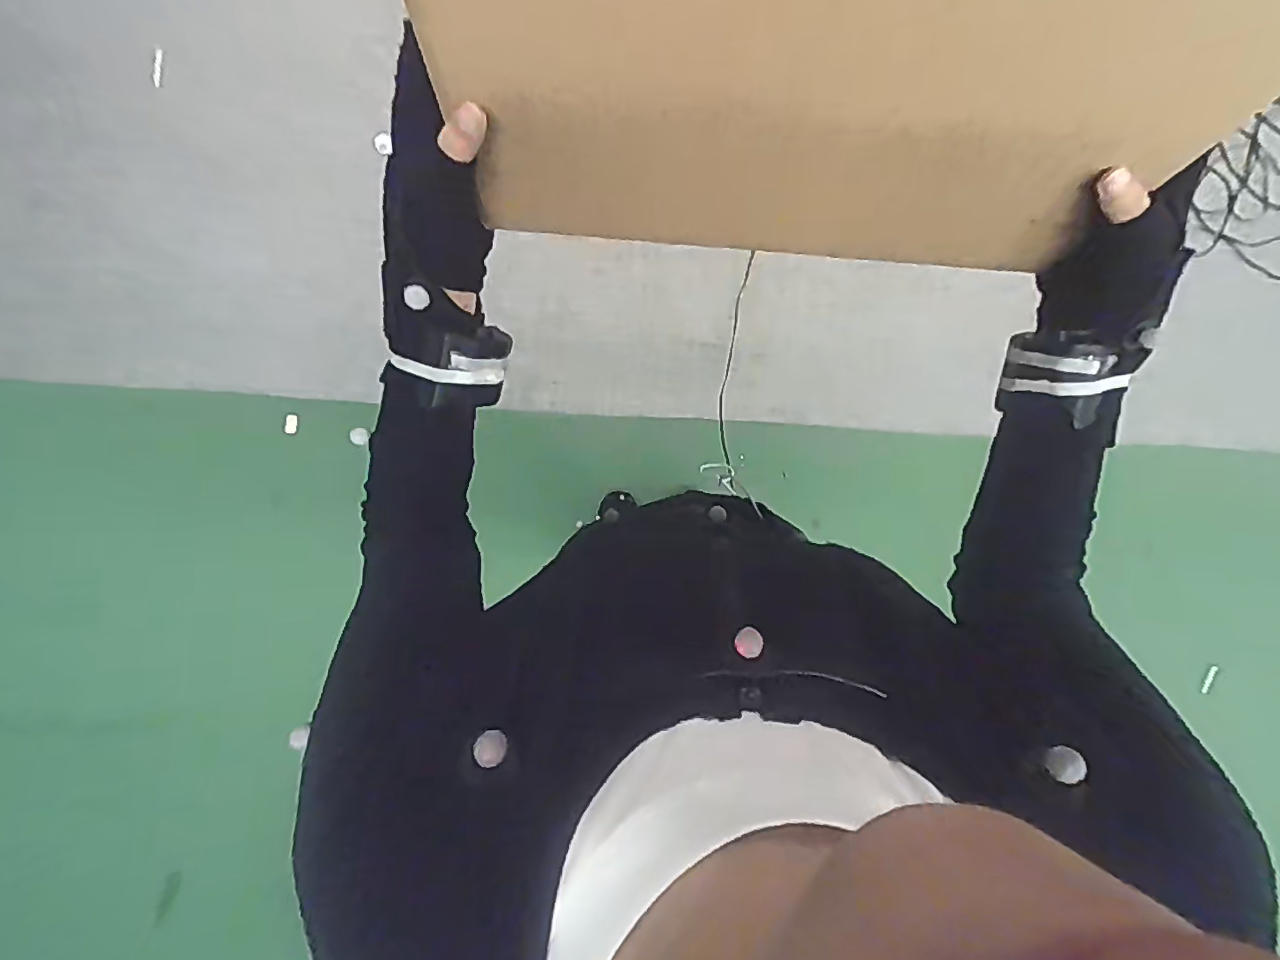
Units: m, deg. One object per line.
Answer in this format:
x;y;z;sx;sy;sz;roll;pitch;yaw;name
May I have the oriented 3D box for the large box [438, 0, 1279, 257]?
0.111;-0.344;0.266;0.408;0.320;0.320;2;77;-5;large box
